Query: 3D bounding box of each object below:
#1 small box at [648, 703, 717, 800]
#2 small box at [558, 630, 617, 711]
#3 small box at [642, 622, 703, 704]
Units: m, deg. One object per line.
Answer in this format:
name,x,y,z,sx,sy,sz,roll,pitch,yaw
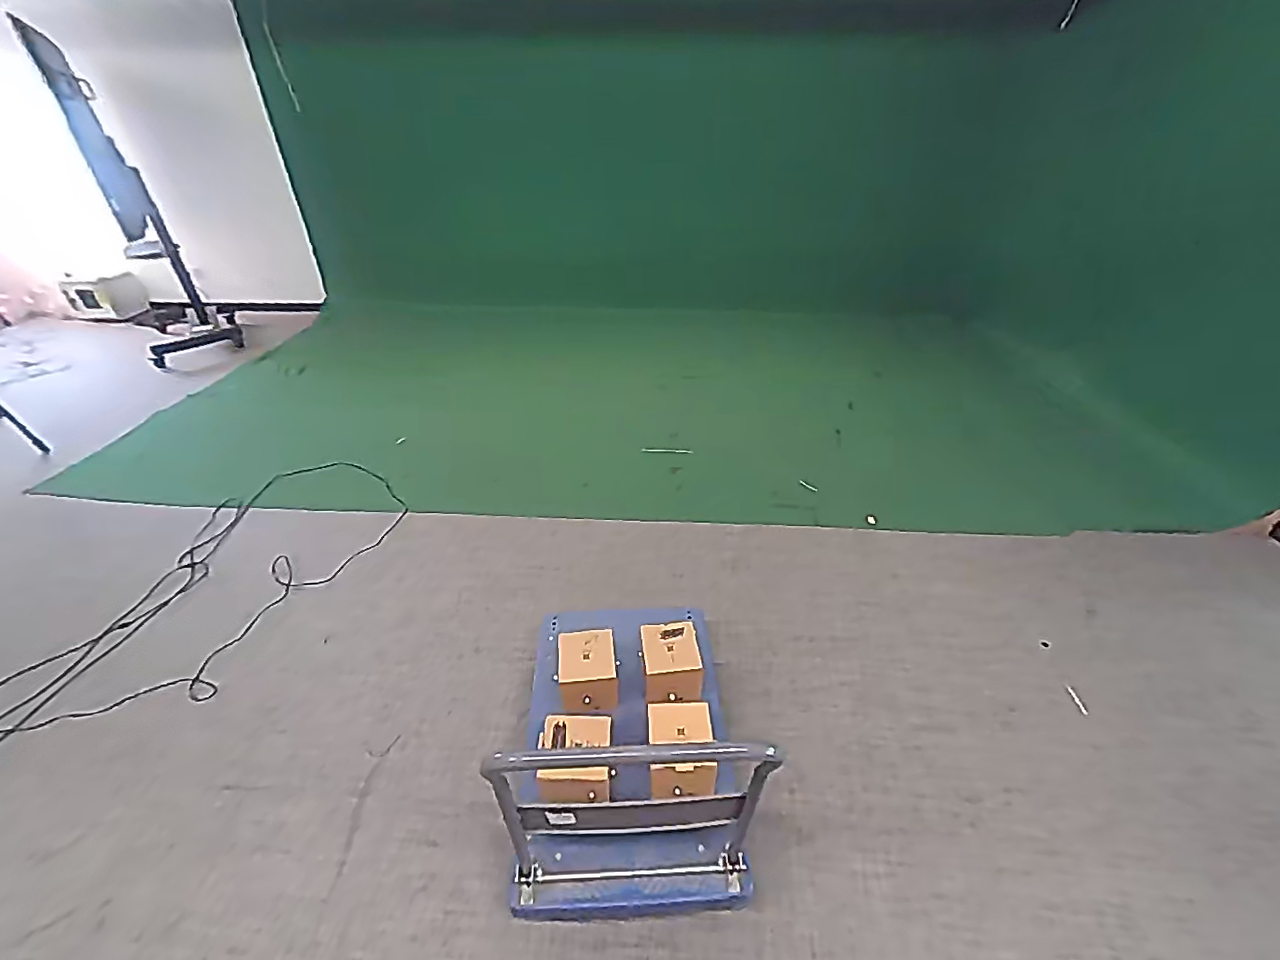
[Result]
small box,0.107,0.723,1.442,0.168,0.176,0.179,-1,36,-2
small box,-0.156,0.581,1.637,0.168,0.176,0.179,-3,36,-6
small box,0.094,0.564,1.660,0.168,0.176,0.179,-4,37,-4
